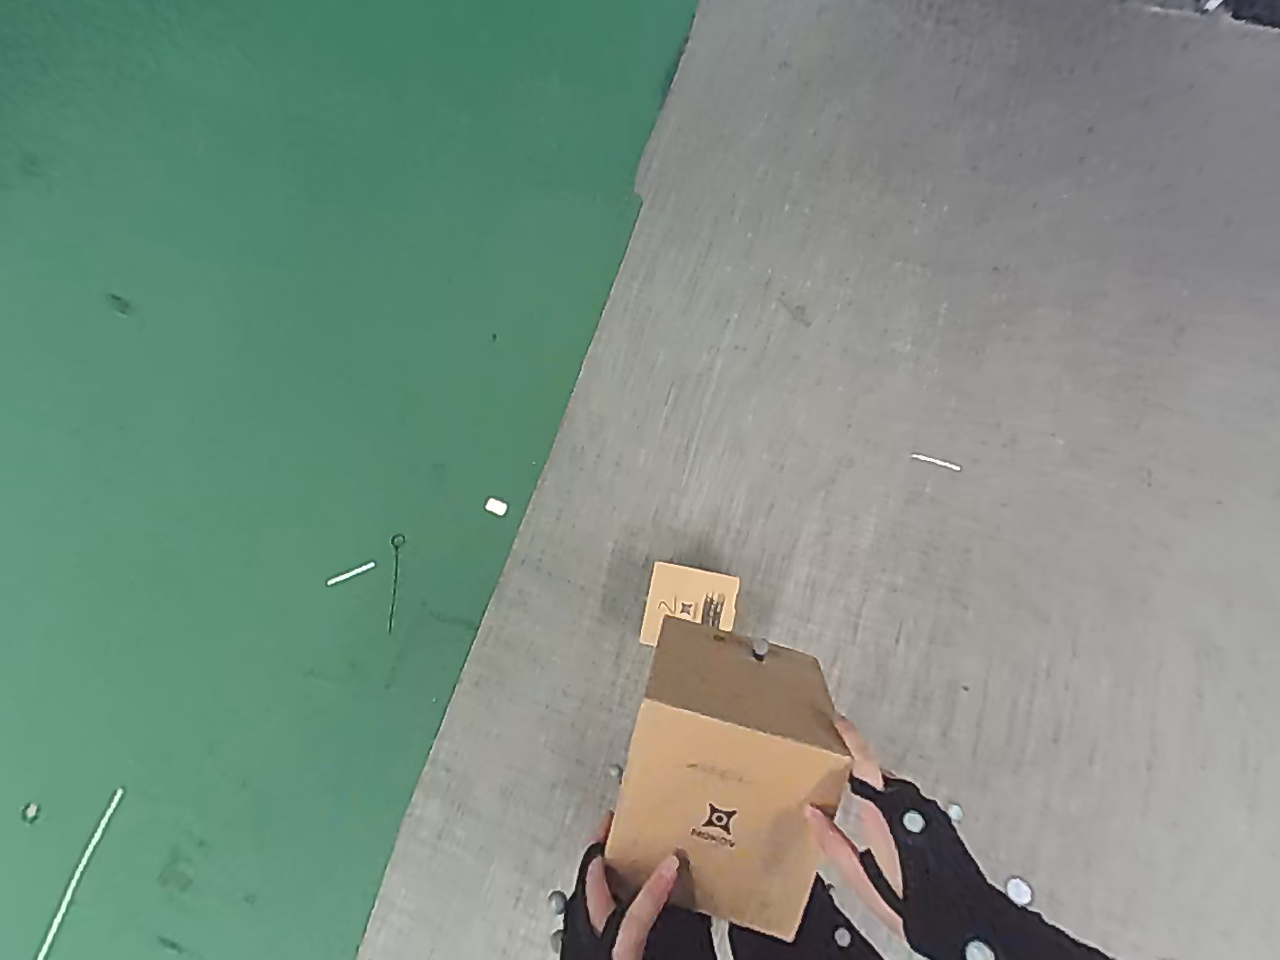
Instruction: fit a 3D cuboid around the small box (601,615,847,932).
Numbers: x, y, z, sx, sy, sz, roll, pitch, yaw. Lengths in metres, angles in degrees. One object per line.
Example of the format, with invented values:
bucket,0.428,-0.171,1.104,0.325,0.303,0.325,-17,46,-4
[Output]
small box,0.076,0.257,0.514,0.168,0.176,0.179,14,100,6
